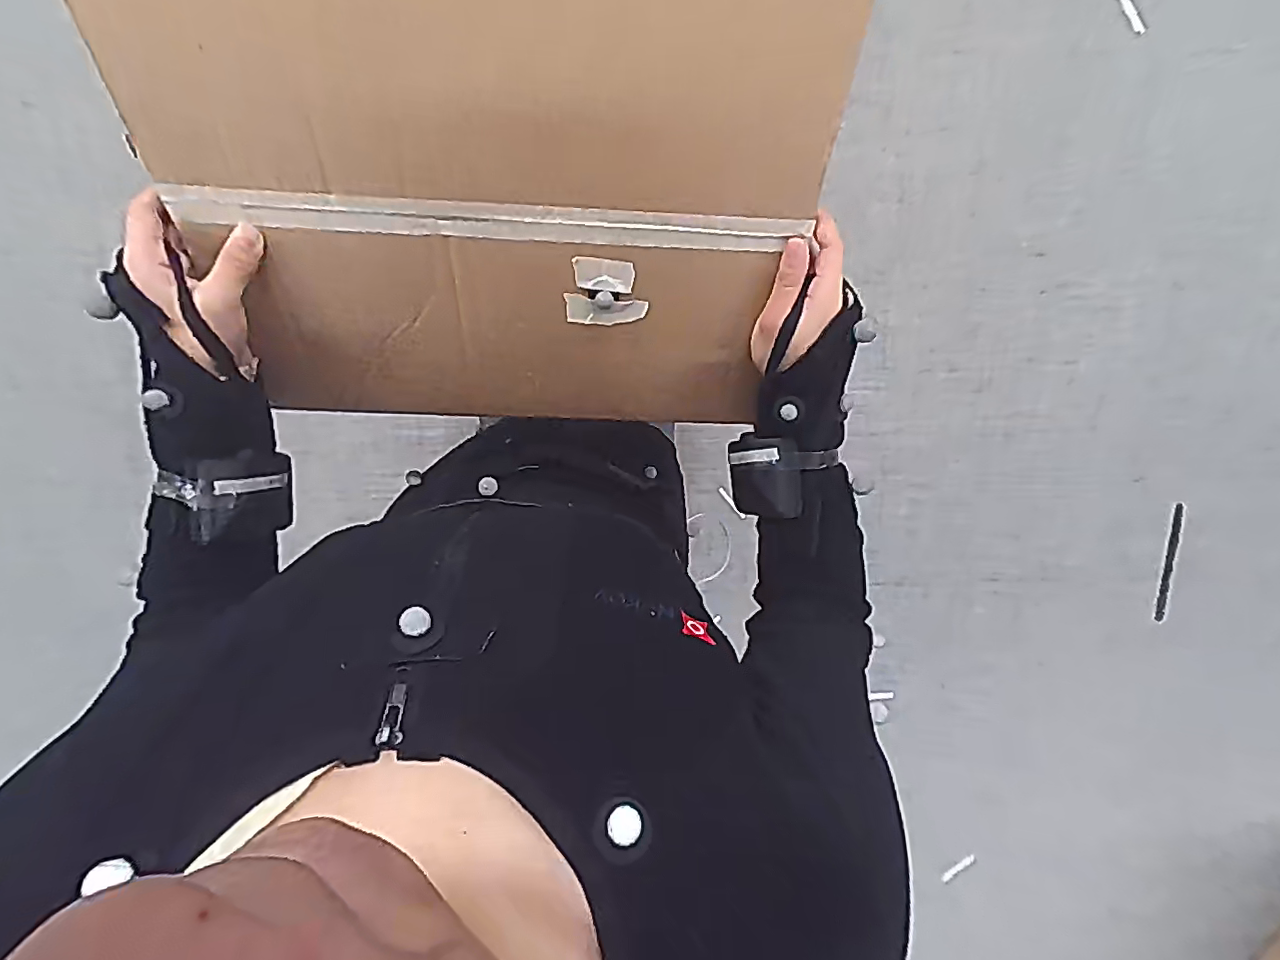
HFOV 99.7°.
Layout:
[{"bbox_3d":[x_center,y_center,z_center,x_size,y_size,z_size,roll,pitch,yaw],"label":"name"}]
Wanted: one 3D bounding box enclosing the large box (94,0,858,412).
[{"bbox_3d":[-0.097,-0.271,0.466,0.408,0.320,0.320,0,134,-5],"label":"large box"}]
